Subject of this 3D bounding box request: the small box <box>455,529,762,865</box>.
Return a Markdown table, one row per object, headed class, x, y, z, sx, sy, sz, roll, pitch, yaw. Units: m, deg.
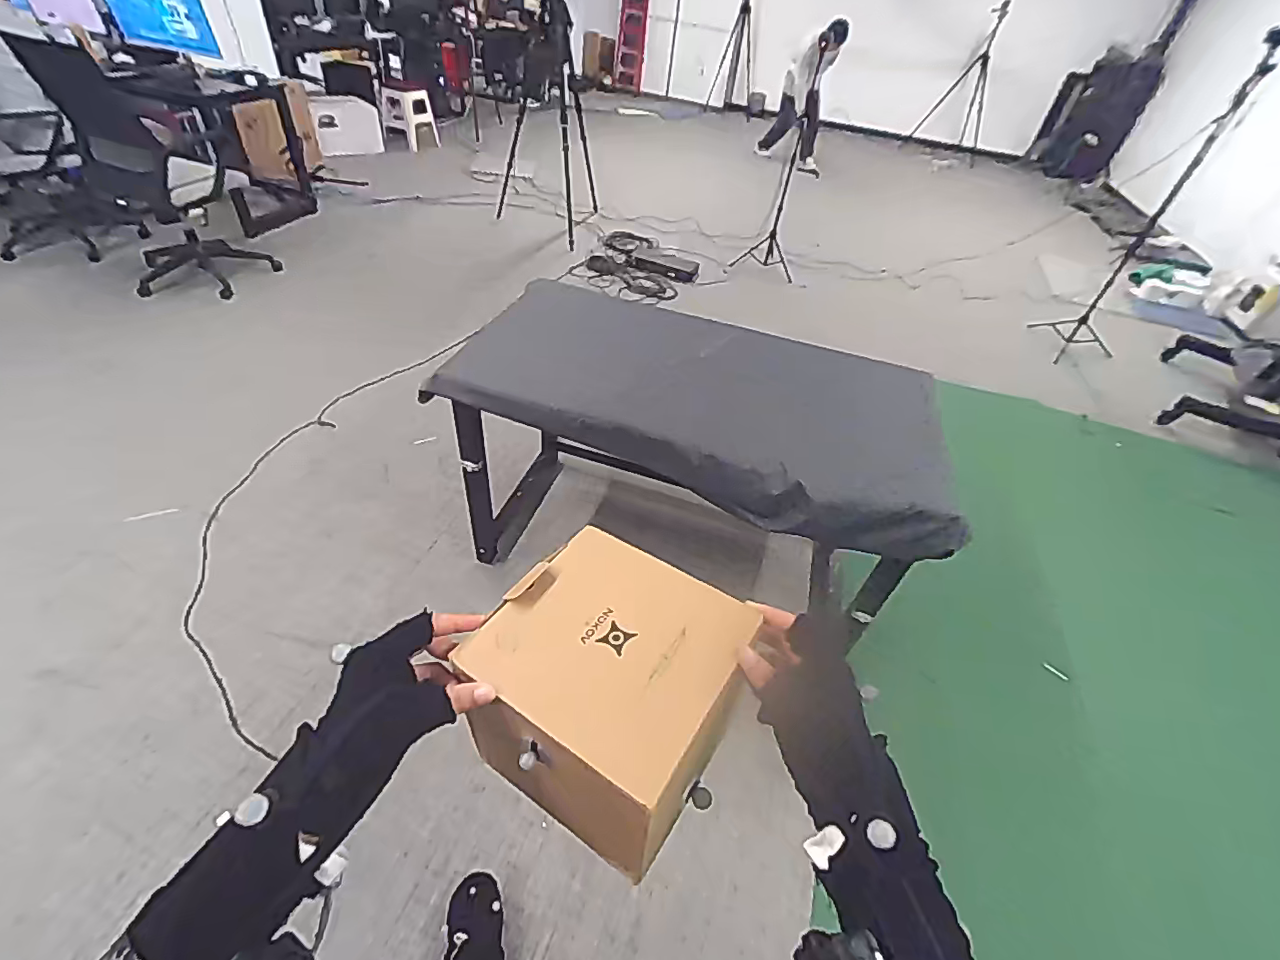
| class | x | y | z | sx | sy | sz | roll | pitch | yaw |
| --- | --- | --- | --- | --- | --- | --- | --- | --- | --- |
| small box | -0.023 | 0.179 | 0.456 | 0.179 | 0.176 | 0.168 | 25 | 46 | 22 |
